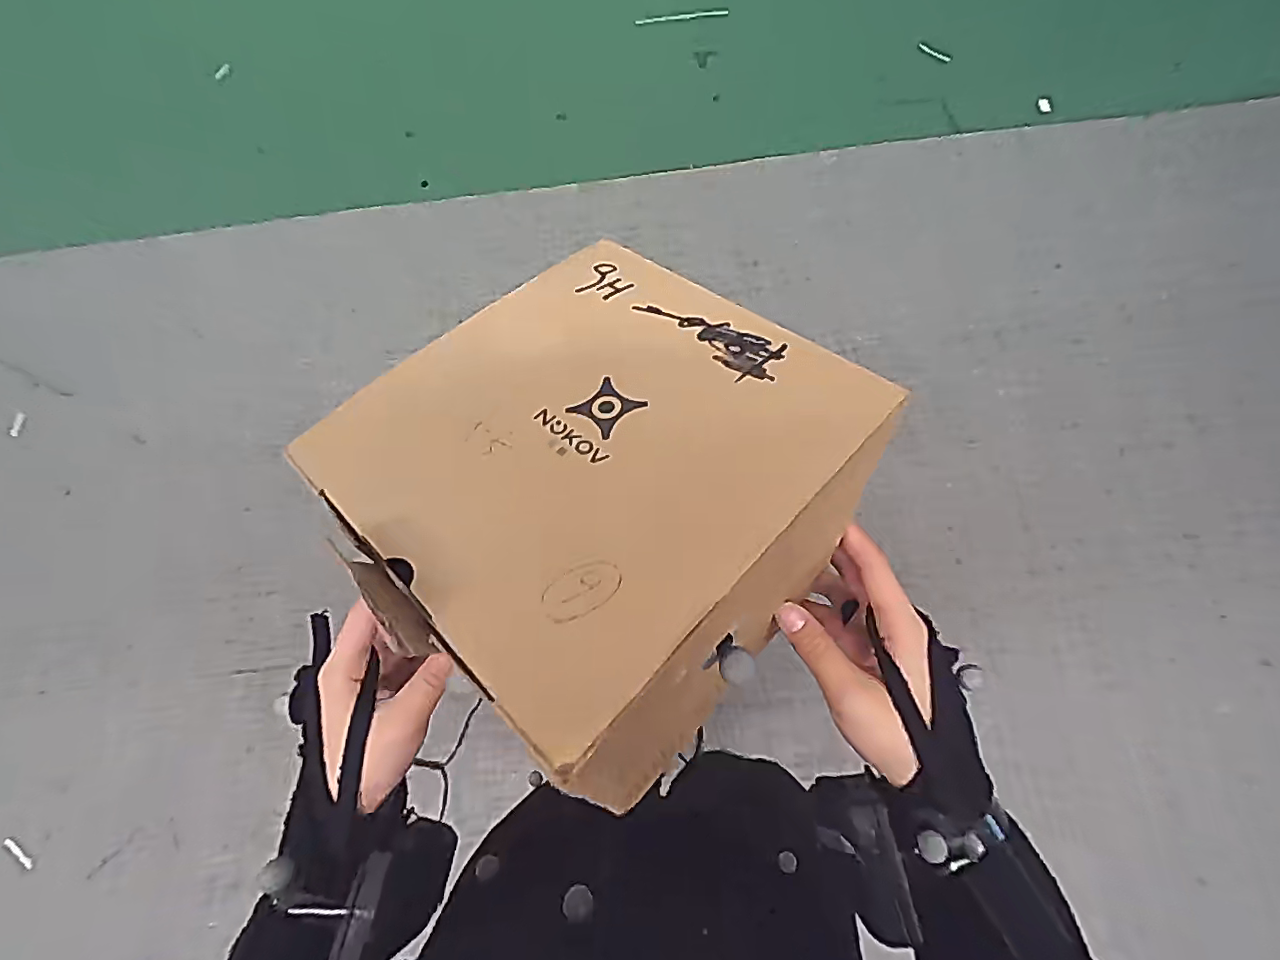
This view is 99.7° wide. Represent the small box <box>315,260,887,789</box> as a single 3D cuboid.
[{"bbox_3d":[-0.010,0.029,0.281,0.168,0.176,0.179,37,67,25],"label":"small box"}]
